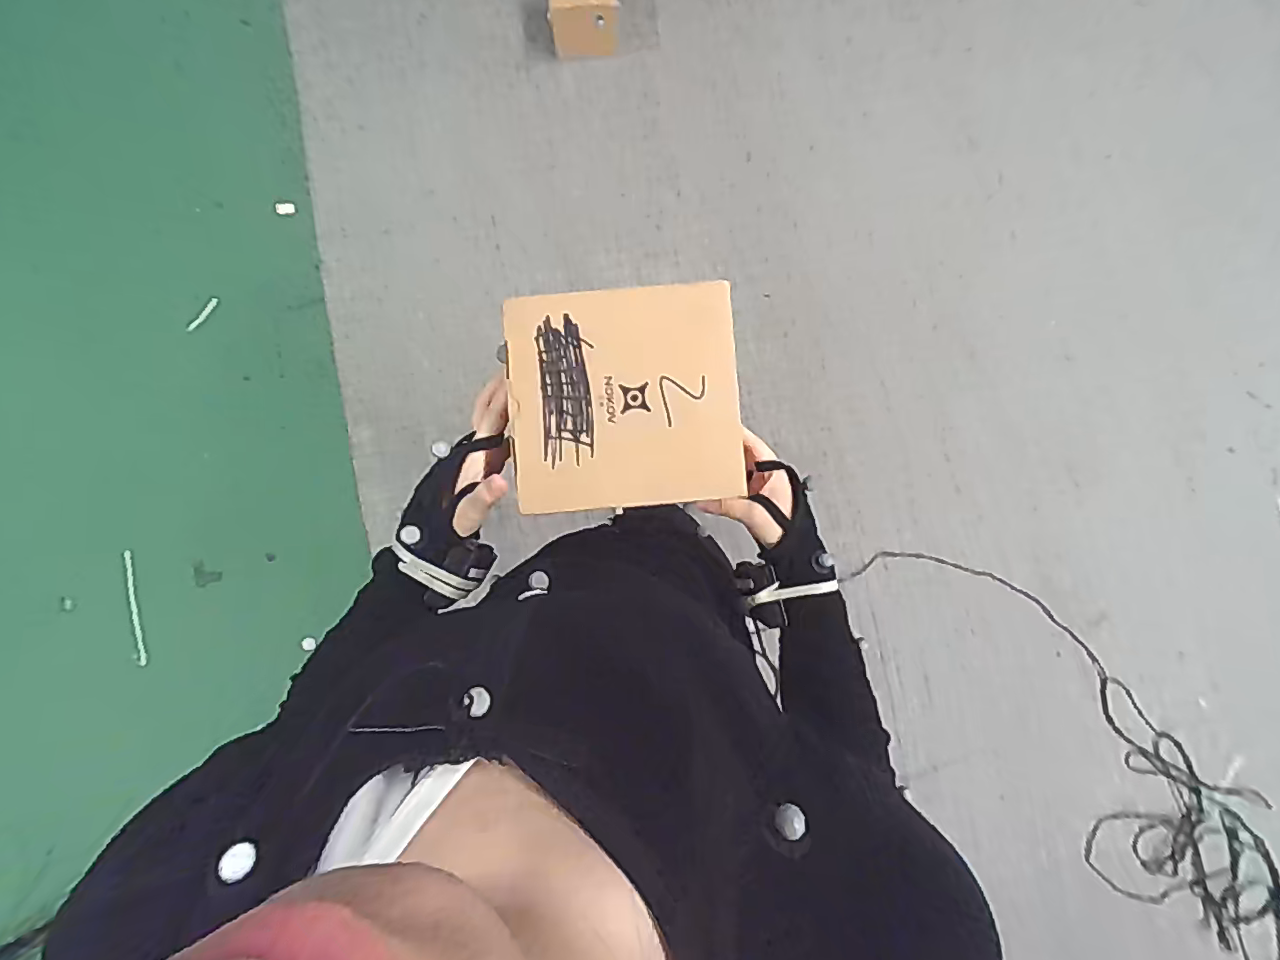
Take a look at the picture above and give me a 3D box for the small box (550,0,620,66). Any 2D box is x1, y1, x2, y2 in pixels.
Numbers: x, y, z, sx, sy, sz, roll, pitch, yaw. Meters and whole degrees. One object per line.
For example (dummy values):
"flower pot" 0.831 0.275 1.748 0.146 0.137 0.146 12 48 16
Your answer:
"small box" -0.147 -1.265 1.461 0.179 0.176 0.168 -5 88 0
